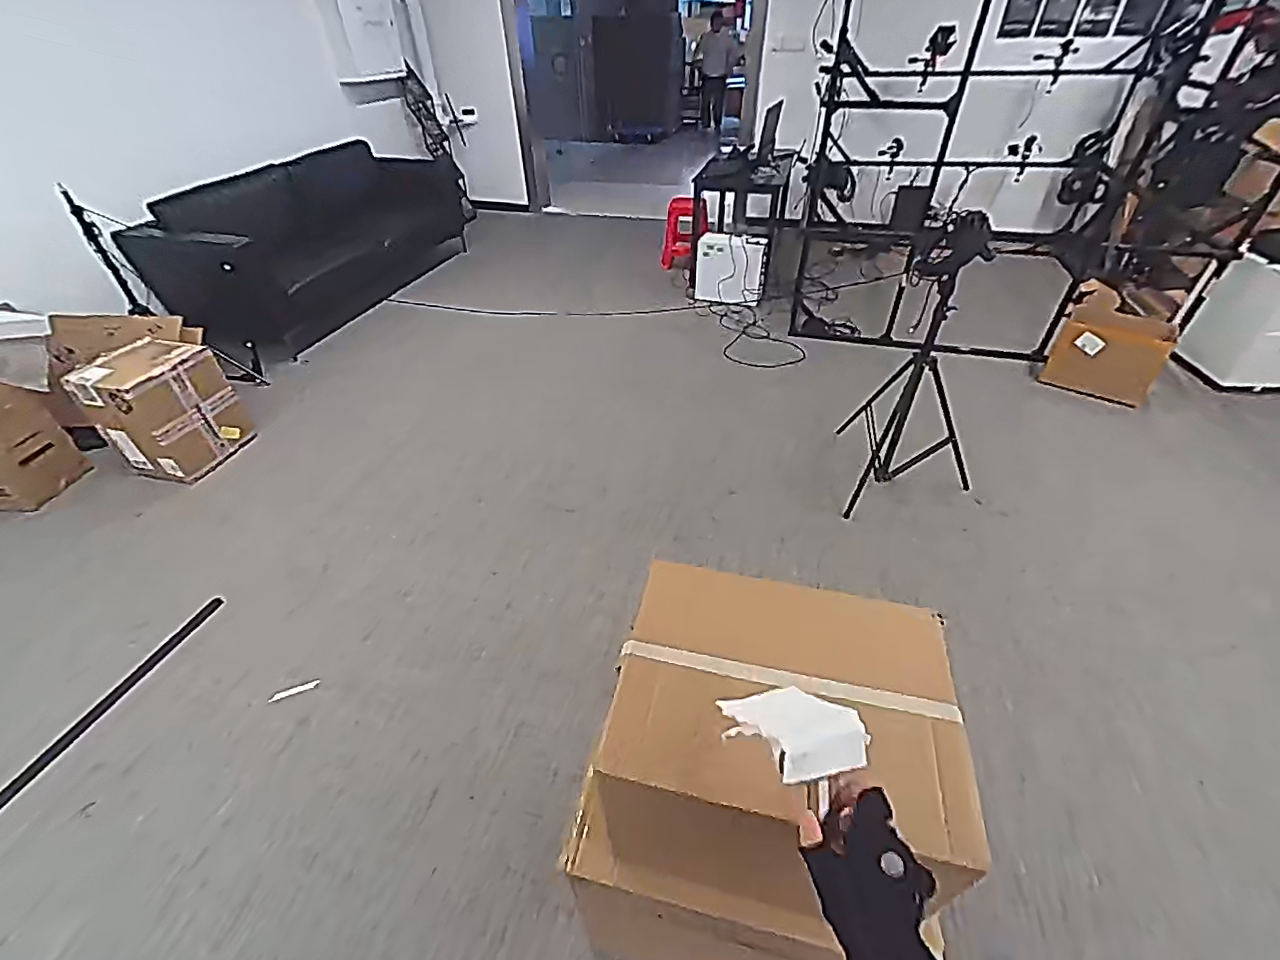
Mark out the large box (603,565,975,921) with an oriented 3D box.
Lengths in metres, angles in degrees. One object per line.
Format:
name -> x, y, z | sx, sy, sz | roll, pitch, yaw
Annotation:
large box -> 0.180, 0.367, 0.786 | 0.408, 0.320, 0.320 | 9, 42, 11
